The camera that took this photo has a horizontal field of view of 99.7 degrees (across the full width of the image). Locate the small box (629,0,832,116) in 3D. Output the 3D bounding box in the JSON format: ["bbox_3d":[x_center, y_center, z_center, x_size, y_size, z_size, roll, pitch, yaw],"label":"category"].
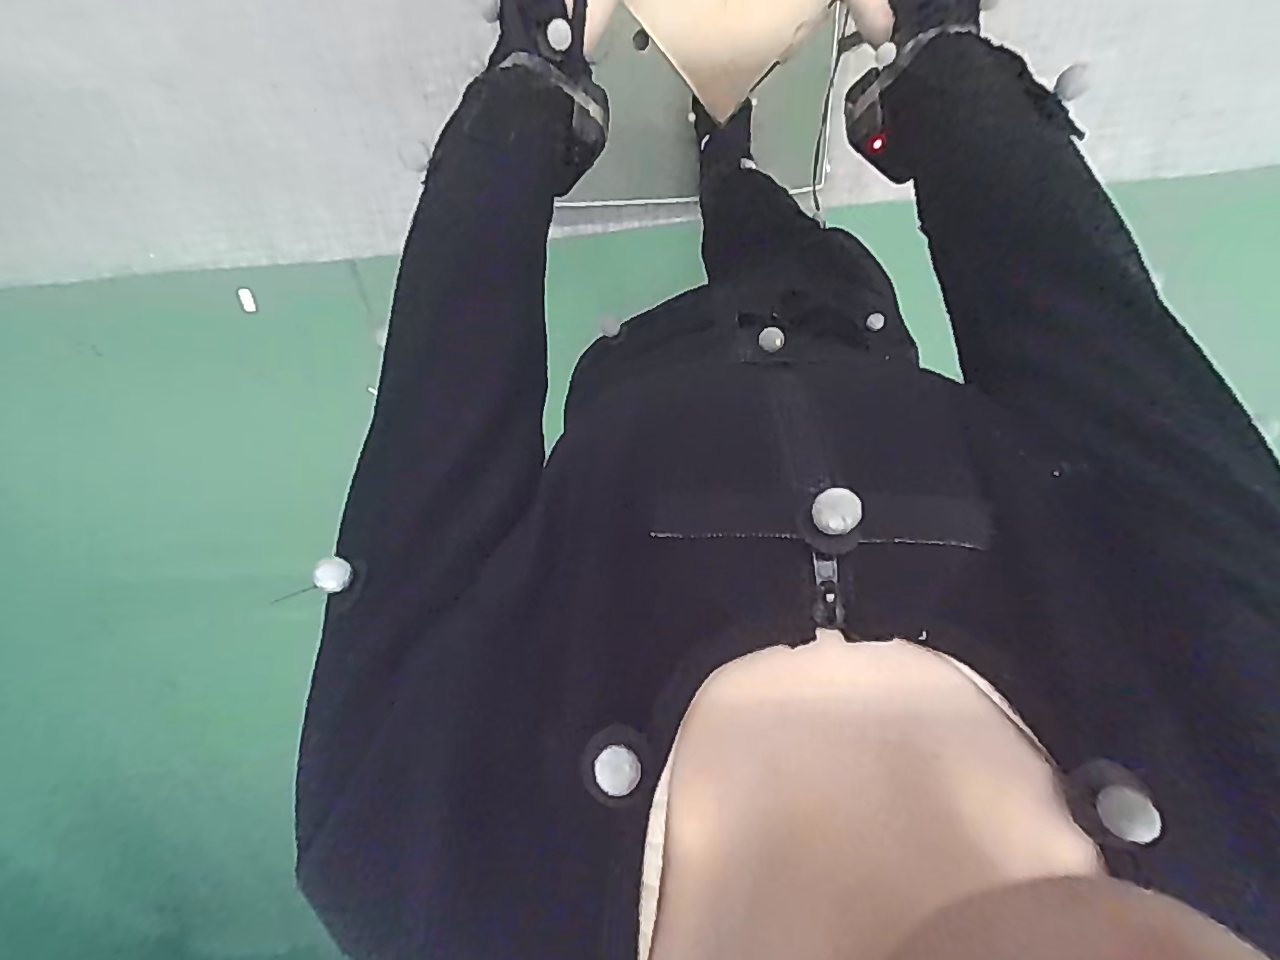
[{"bbox_3d":[0.065,-0.442,0.433,0.179,0.176,0.168,37,121,-26],"label":"small box"}]
